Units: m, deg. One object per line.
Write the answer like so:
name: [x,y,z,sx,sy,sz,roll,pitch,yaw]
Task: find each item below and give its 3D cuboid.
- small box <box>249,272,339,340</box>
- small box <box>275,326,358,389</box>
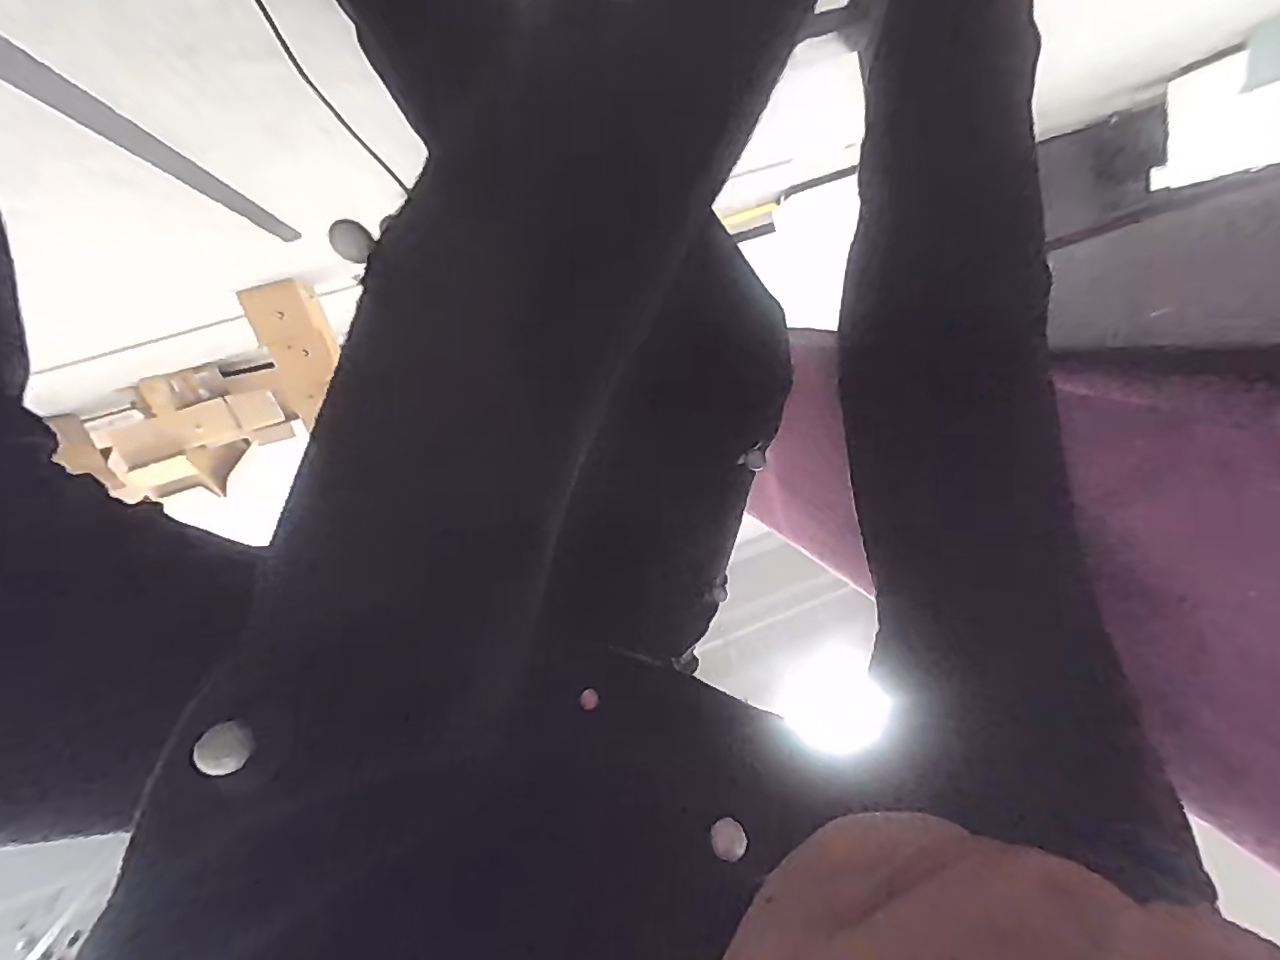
small box: [-1.118,-0.556,1.747,0.179,0.176,0.168,-19,-164,-7]
small box: [-1.072,-0.410,1.803,0.168,0.176,0.179,-20,-165,-12]
